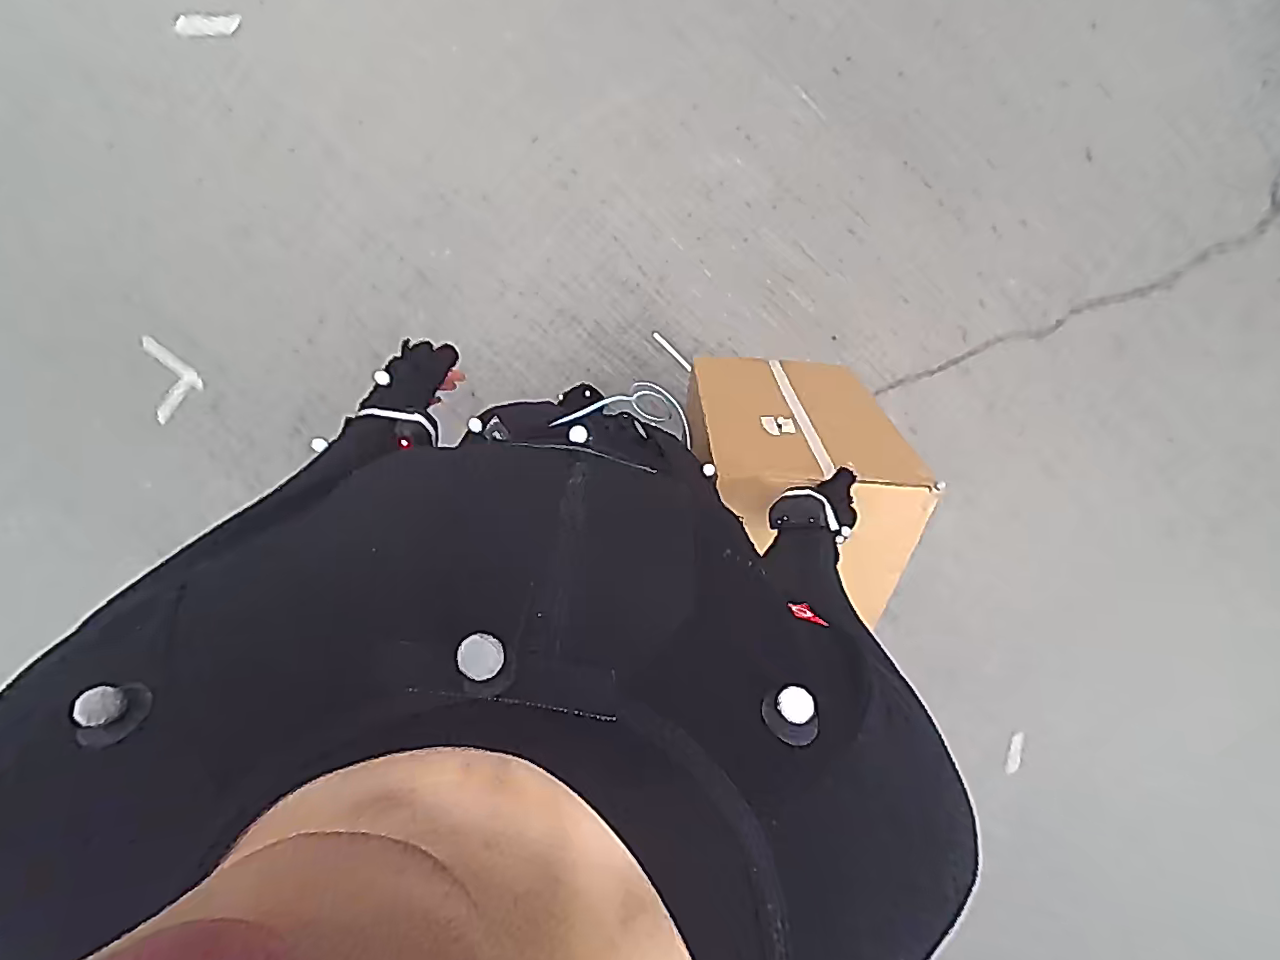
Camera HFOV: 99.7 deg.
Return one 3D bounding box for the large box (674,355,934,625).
[{"bbox_3d":[0.243,0.004,0.986,0.320,0.408,0.320,2,127,-2],"label":"large box"}]
